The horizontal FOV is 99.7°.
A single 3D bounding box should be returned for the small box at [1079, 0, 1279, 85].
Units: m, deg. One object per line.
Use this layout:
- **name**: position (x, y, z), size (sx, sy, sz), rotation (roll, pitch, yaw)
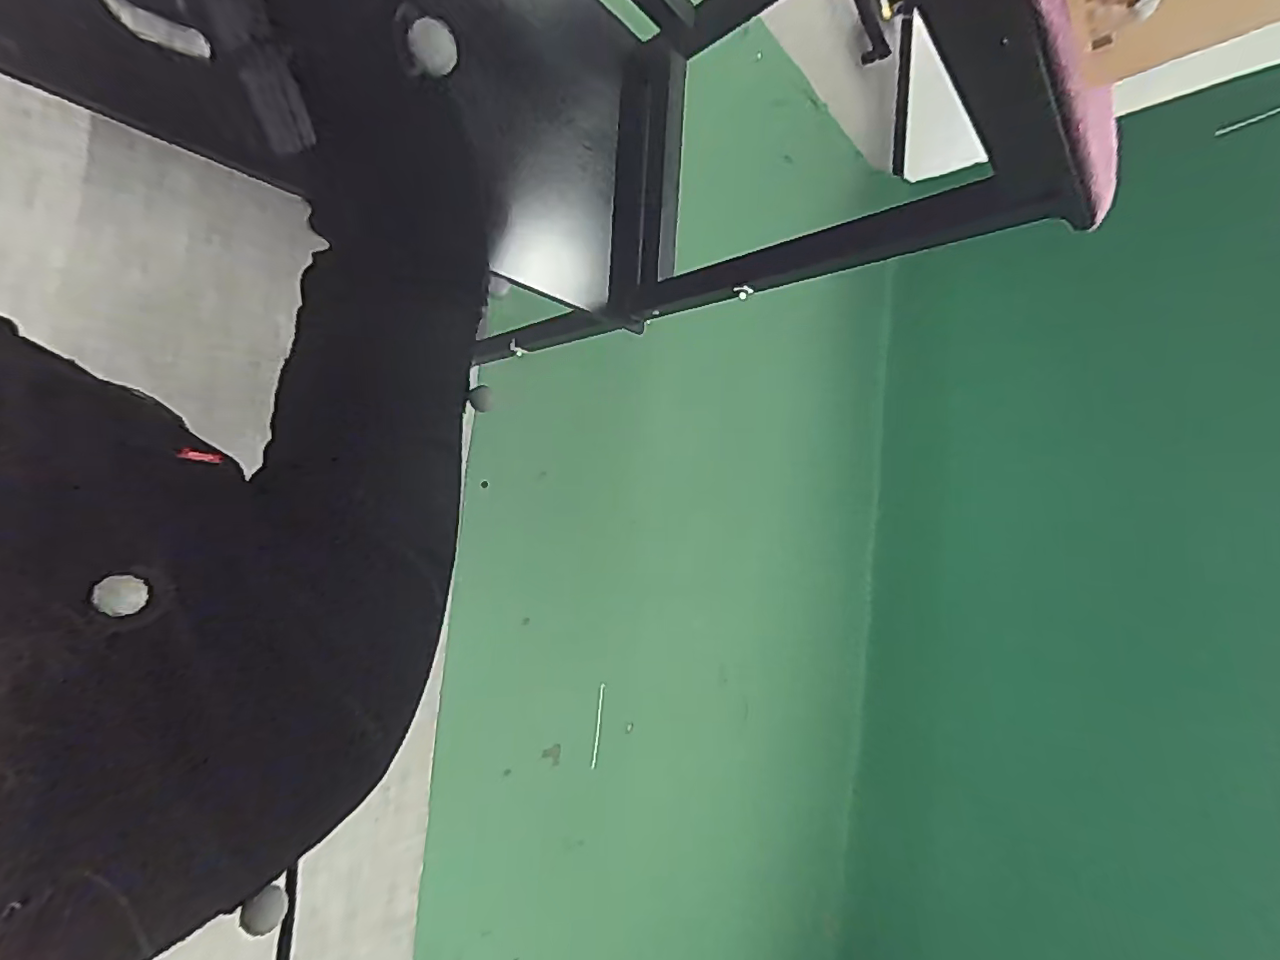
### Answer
- **small box**: position (0.473, -0.487, 0.441), size (0.168, 0.176, 0.179), rotation (15, 83, -44)
